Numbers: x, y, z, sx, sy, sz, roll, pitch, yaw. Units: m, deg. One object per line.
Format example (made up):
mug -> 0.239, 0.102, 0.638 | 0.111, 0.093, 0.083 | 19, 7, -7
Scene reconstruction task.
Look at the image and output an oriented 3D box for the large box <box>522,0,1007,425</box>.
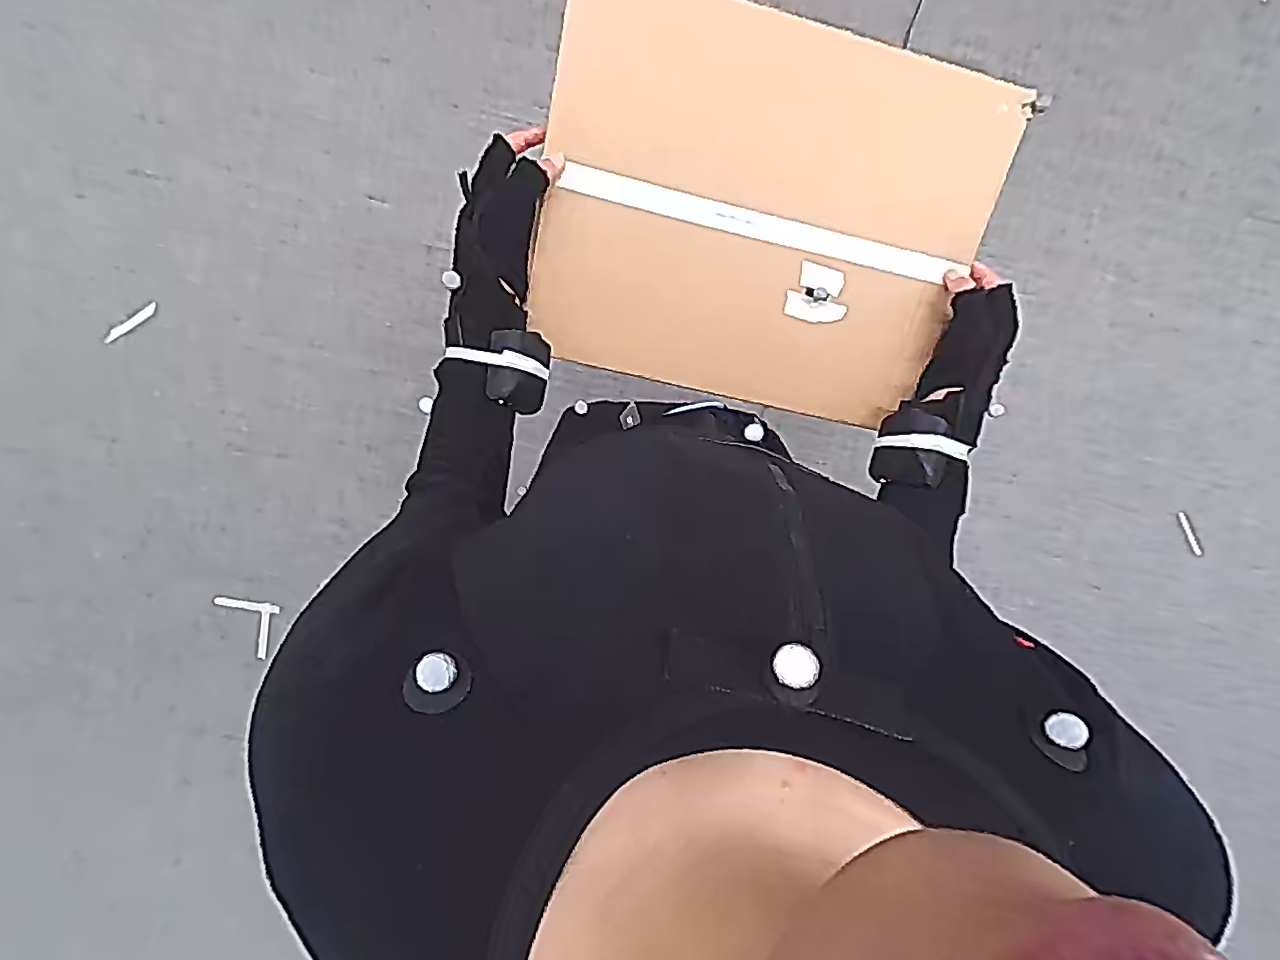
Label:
large box -> 0.098, -0.283, 0.648 | 0.408, 0.320, 0.320 | 12, 109, -7
